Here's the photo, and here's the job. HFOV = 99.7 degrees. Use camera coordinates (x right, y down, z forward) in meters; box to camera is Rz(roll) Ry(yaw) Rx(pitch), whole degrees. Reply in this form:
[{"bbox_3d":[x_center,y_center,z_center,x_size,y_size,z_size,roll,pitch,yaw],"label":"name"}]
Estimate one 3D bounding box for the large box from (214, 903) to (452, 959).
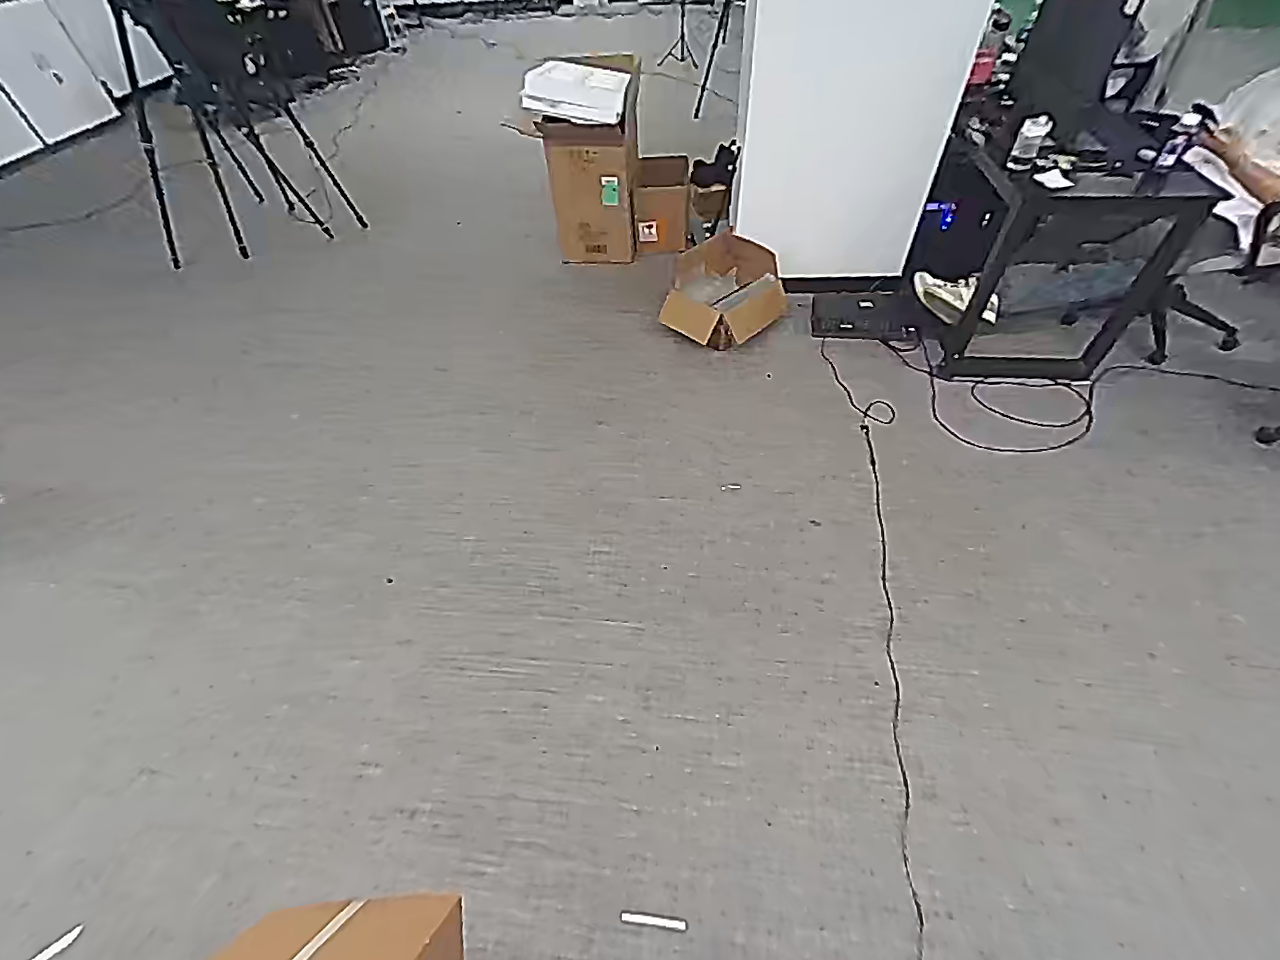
[{"bbox_3d":[-0.431,0.775,0.615,0.320,0.408,0.320,-8,78,2],"label":"large box"}]
